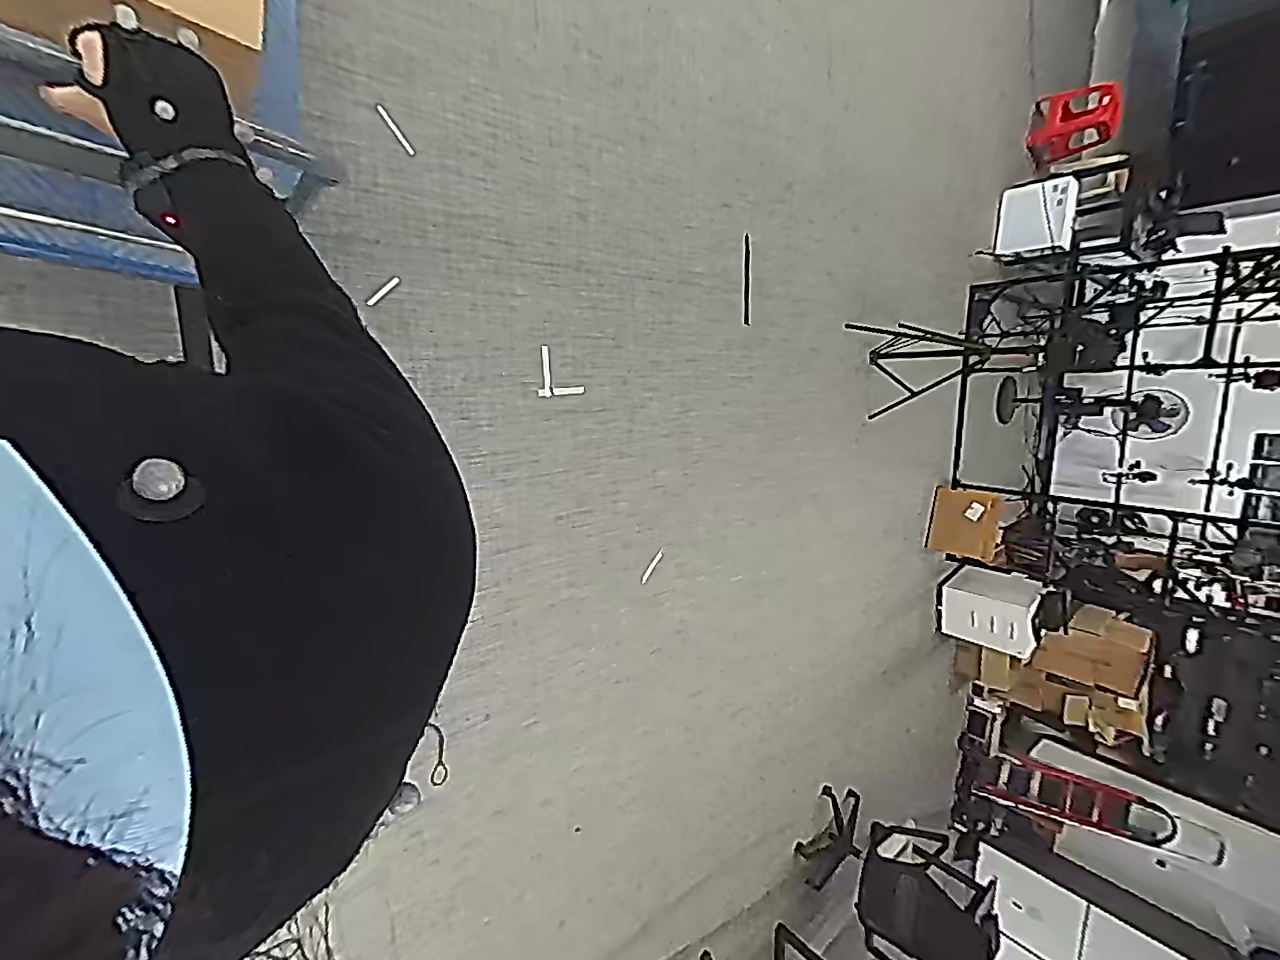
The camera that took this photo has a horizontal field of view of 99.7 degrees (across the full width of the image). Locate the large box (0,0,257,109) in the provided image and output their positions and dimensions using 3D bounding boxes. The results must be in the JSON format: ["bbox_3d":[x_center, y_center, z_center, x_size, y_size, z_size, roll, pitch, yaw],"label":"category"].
[{"bbox_3d":[-0.802,-0.825,0.772,0.408,0.320,0.320,2,96,-40],"label":"large box"}]
